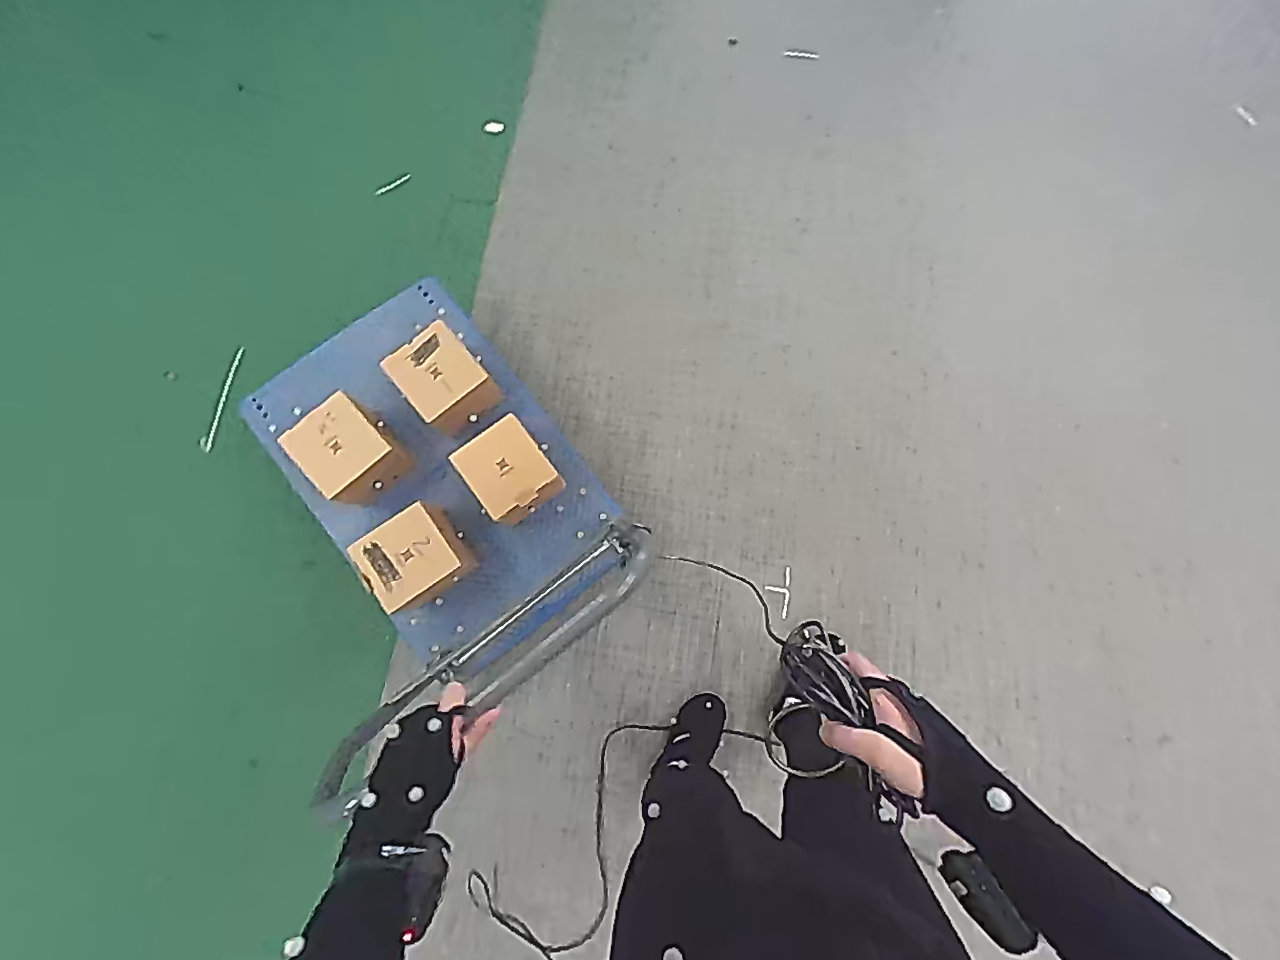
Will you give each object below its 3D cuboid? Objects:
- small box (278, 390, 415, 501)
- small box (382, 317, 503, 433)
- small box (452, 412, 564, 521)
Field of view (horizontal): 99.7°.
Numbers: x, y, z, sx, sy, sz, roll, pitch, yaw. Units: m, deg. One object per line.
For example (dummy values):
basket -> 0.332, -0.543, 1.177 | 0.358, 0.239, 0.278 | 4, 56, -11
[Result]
small box -> -0.637, -0.067, 1.200 | 0.168, 0.176, 0.179 | -41, 87, -8
small box -> -0.440, -0.230, 1.233 | 0.168, 0.176, 0.179 | -40, 87, -7
small box -> -0.287, -0.020, 1.216 | 0.168, 0.176, 0.179 | -37, 87, -7
